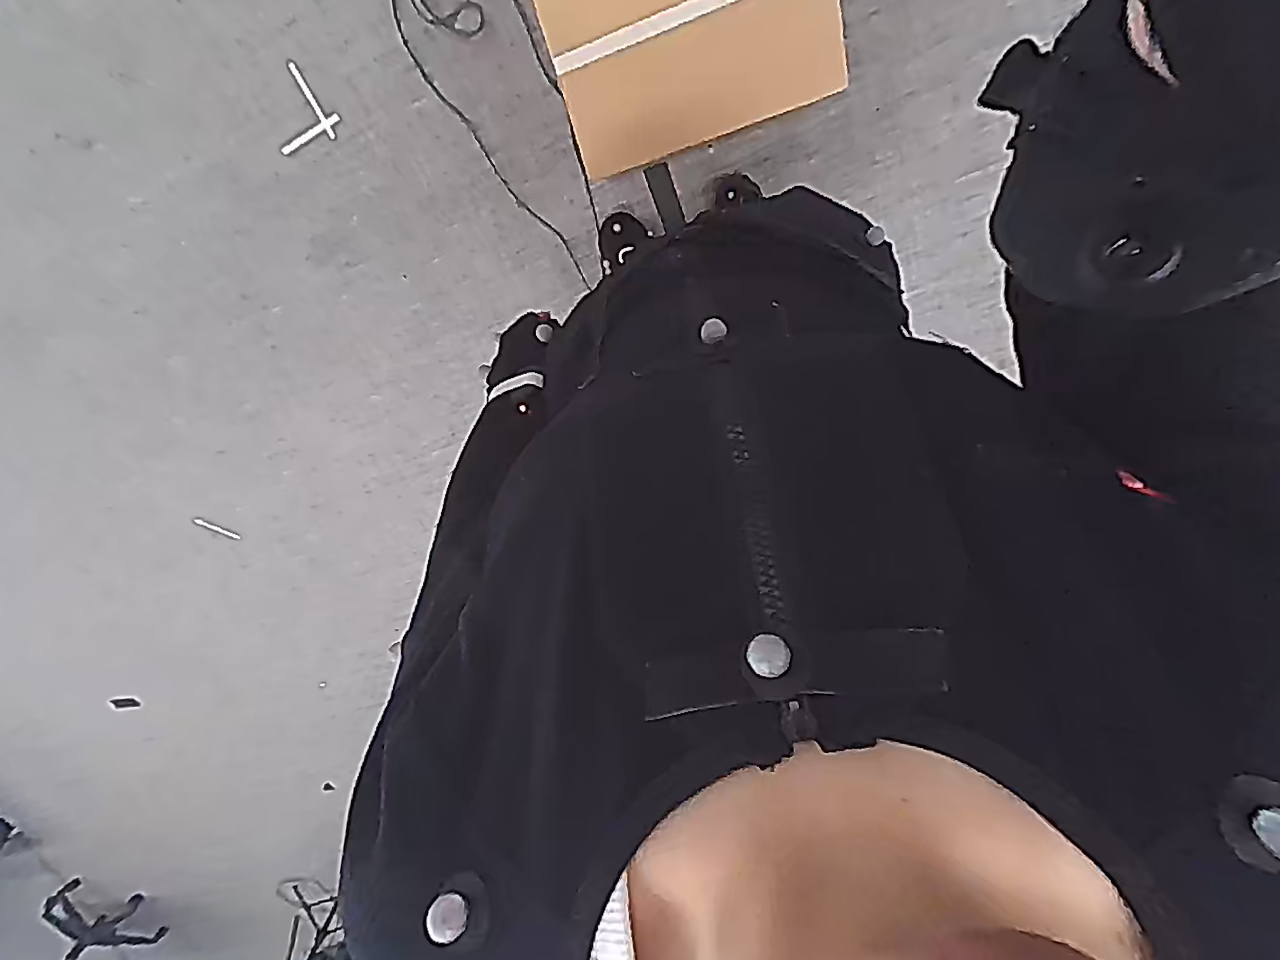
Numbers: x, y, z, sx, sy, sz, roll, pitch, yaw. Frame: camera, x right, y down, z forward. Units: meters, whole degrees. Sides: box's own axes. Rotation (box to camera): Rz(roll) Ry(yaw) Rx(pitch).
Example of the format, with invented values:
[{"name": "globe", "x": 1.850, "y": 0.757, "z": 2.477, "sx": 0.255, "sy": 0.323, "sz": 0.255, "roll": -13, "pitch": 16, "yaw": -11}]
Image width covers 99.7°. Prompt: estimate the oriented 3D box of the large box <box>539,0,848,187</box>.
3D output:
[{"name": "large box", "x": 0.082, "y": -0.717, "z": 0.896, "sx": 0.408, "sy": 0.320, "sz": 0.320, "roll": -13, "pitch": 118, "yaw": 11}]
